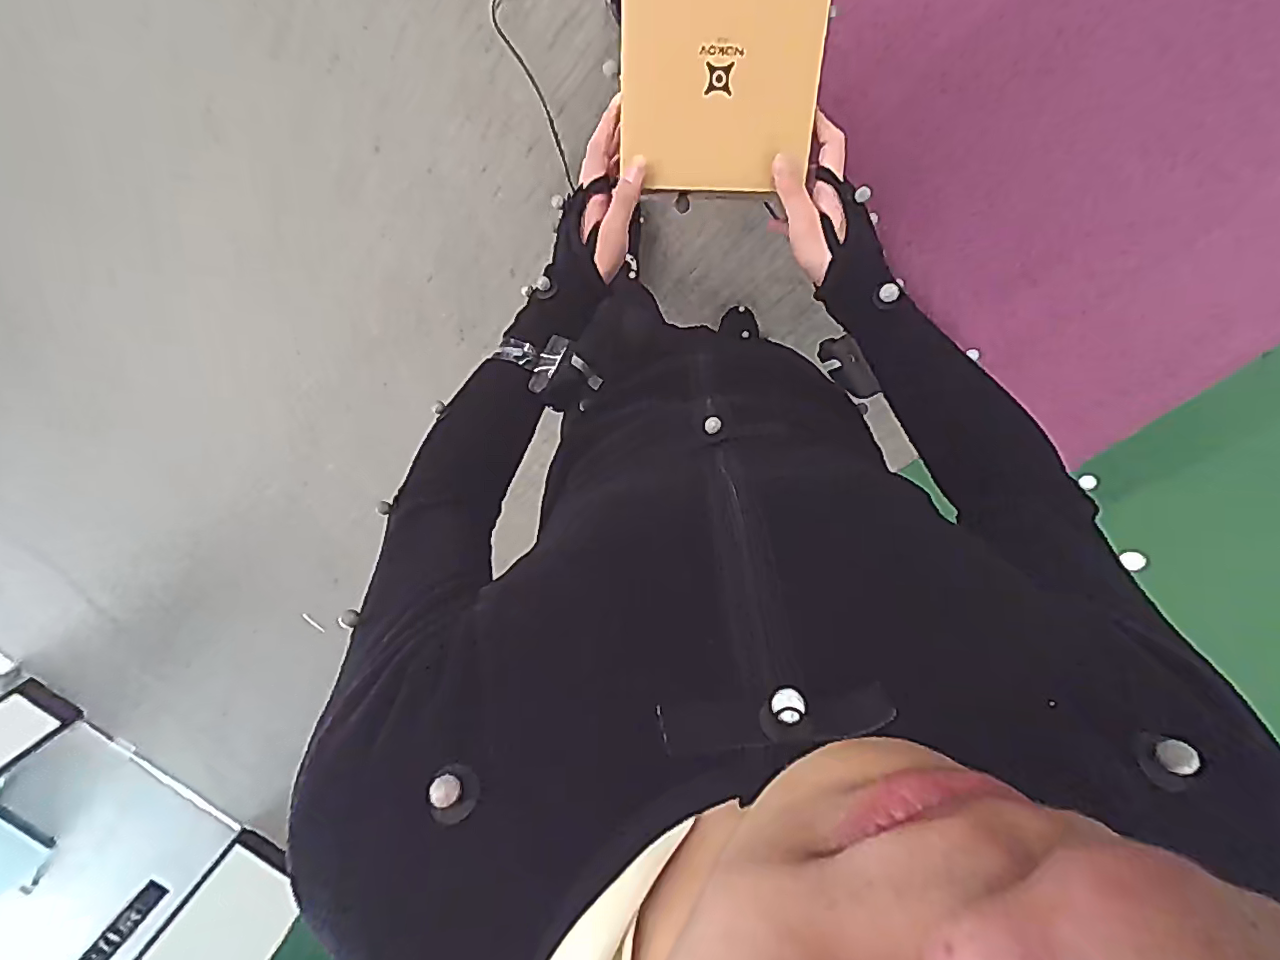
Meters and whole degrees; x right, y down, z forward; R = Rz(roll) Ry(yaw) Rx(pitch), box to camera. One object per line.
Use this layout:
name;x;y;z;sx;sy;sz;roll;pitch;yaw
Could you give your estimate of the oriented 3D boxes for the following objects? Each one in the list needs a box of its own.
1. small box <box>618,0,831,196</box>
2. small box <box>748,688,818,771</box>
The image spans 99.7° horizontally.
small box;0.070;-0.372;0.512;0.168;0.176;0.179;3;114;1
small box;0.498;0.870;1.896;0.168;0.176;0.179;-38;102;21
